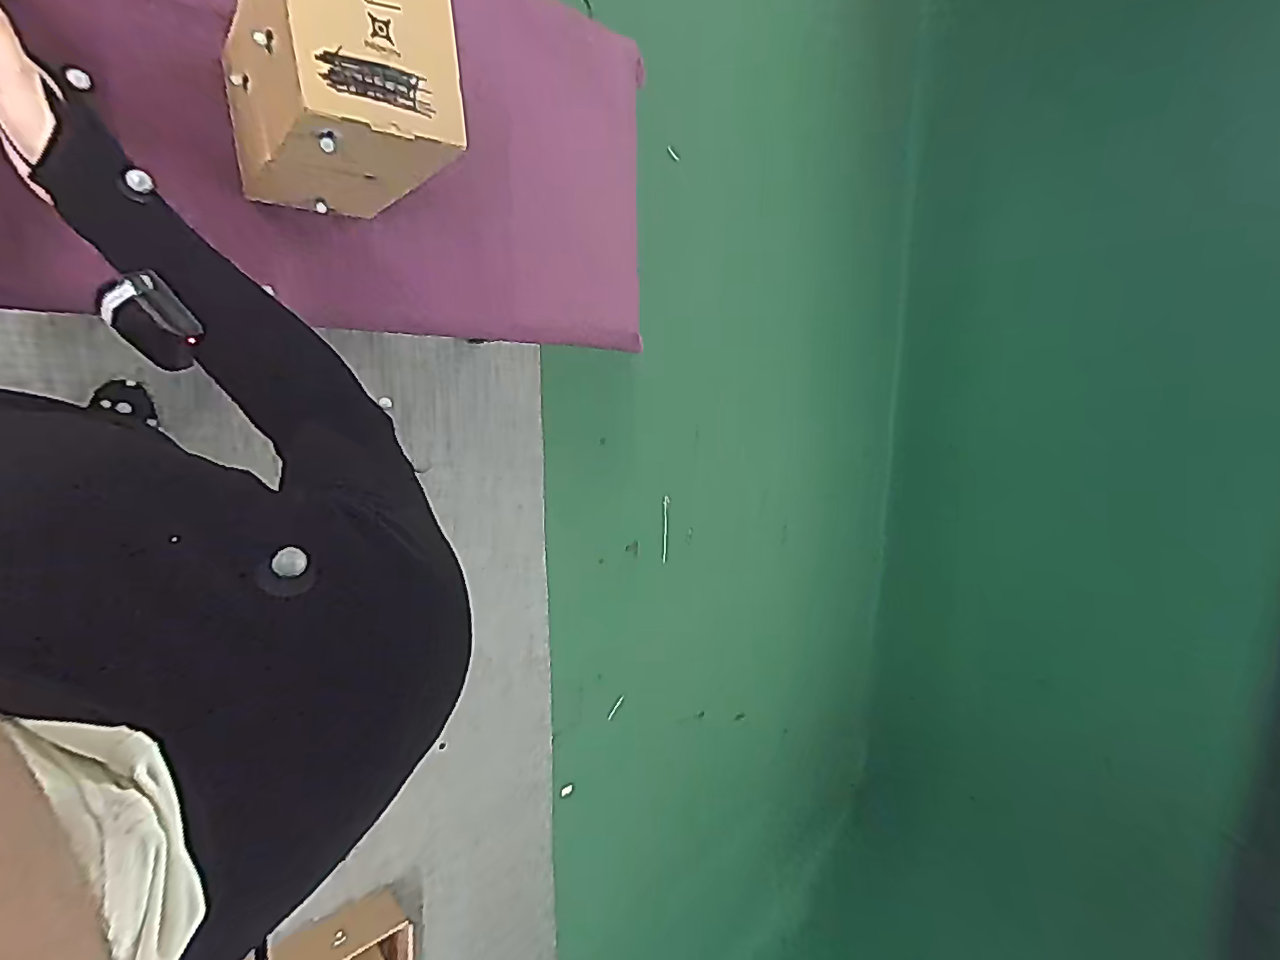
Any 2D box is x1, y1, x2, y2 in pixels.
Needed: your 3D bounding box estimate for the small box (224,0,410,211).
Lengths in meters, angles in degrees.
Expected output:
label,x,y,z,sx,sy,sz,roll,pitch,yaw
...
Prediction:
label,x,y,z,sx,sy,sz,roll,pitch,yaw
small box,-0.424,-0.479,0.711,0.168,0.176,0.179,-12,105,-42
